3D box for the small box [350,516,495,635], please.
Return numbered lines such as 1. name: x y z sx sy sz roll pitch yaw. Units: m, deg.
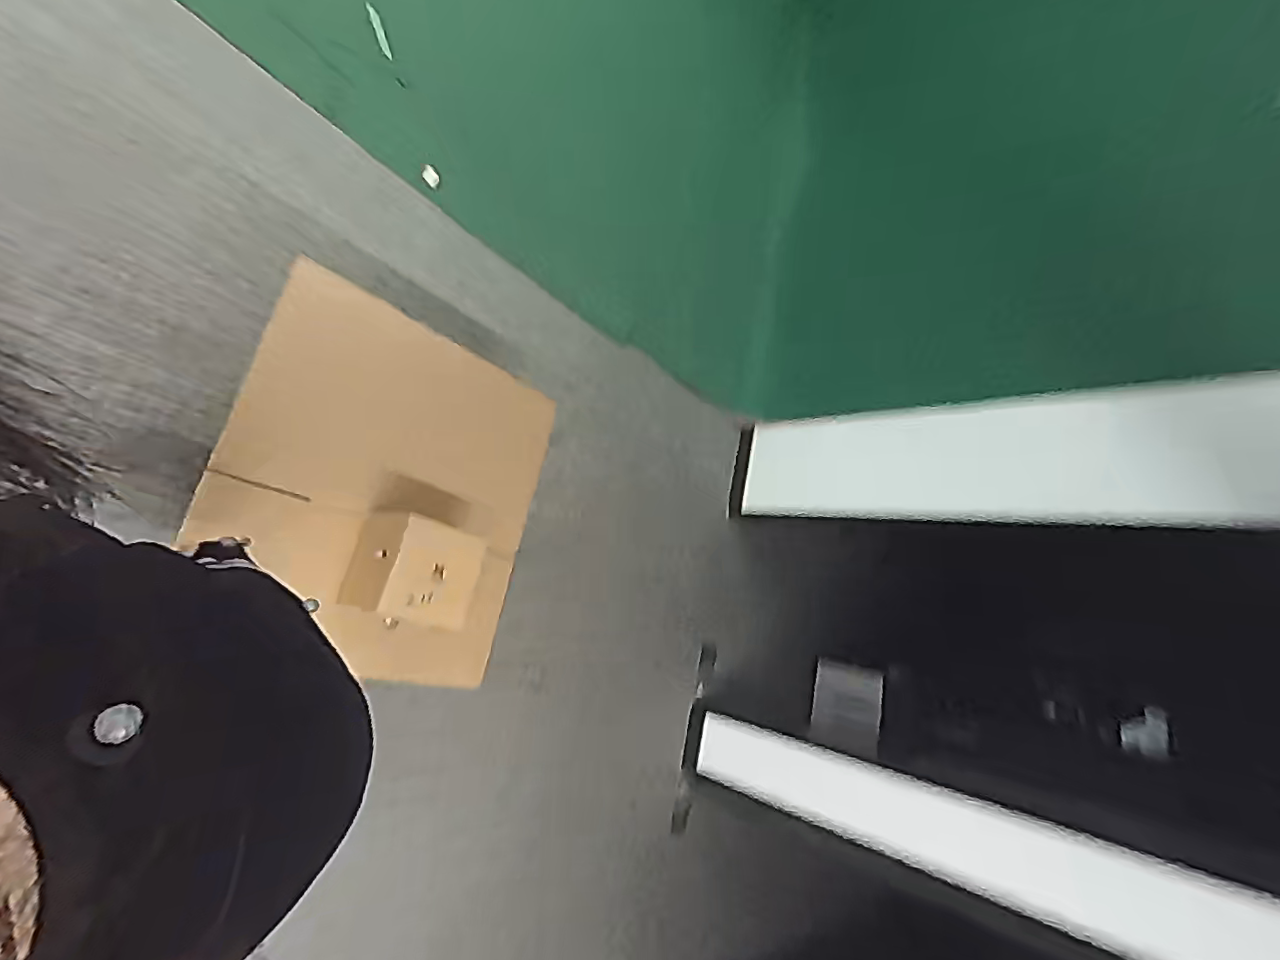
1. small box: -0.406 0.174 1.005 0.168 0.176 0.179 31 66 -42
